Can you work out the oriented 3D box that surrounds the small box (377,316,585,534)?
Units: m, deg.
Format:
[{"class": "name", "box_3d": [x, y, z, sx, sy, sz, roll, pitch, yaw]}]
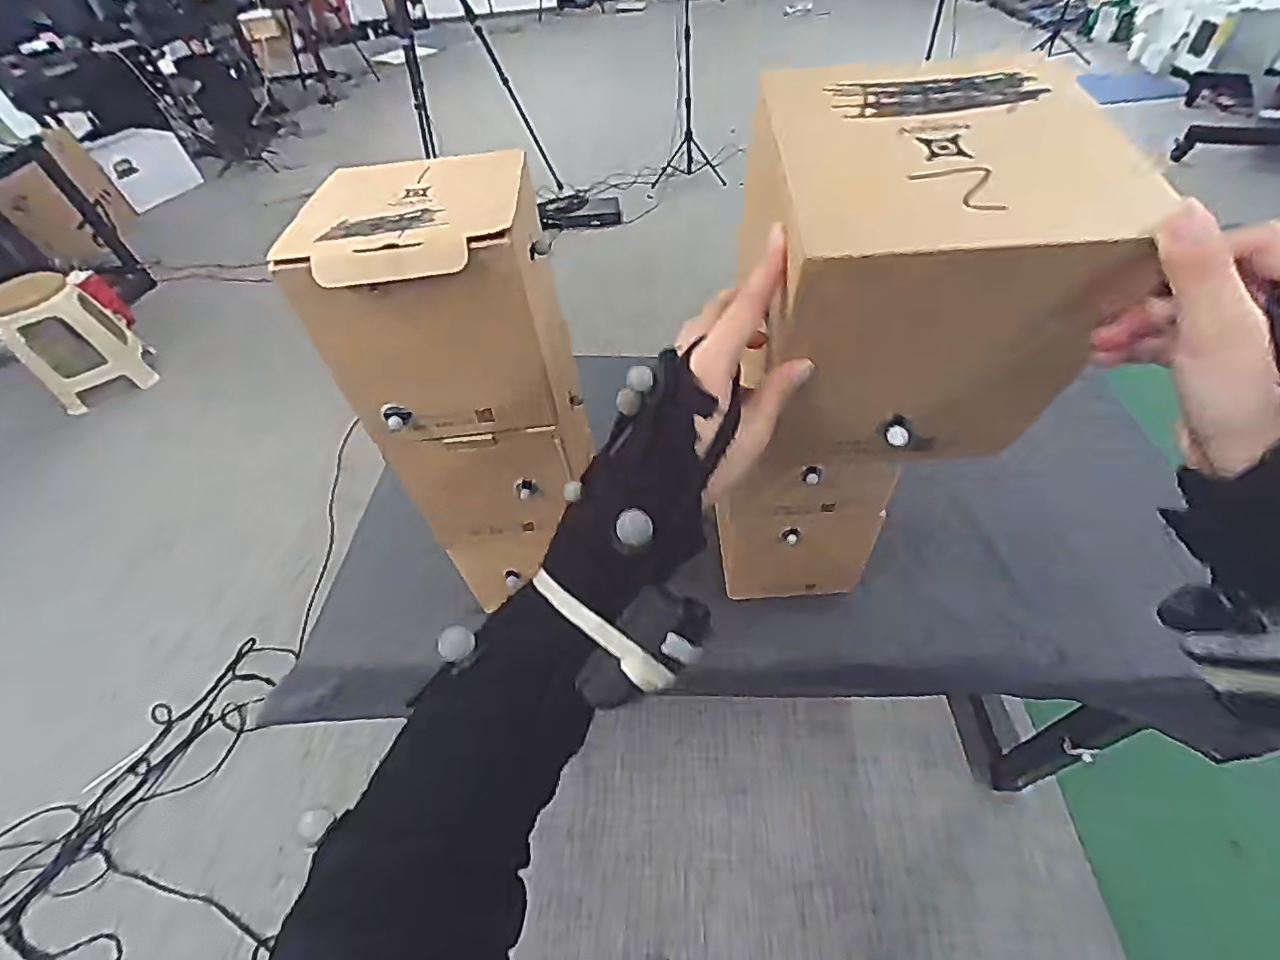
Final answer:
[{"class": "small box", "box_3d": [-0.152, -0.053, 0.590, 0.168, 0.176, 0.179, -5, 48, 0]}]

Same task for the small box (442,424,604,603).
[{"class": "small box", "box_3d": [-0.138, 0.051, 0.714, 0.168, 0.176, 0.179, -5, 49, 2]}]

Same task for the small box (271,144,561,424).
[{"class": "small box", "box_3d": [-0.163, -0.162, 0.467, 0.168, 0.176, 0.179, -6, 48, -1]}]

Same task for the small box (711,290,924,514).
[{"class": "small box", "box_3d": [0.166, -0.075, 0.572, 0.168, 0.176, 0.179, -3, 49, 2]}]

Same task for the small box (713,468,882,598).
[{"class": "small box", "box_3d": [0.185, 0.032, 0.699, 0.168, 0.176, 0.179, -4, 48, 3]}]
